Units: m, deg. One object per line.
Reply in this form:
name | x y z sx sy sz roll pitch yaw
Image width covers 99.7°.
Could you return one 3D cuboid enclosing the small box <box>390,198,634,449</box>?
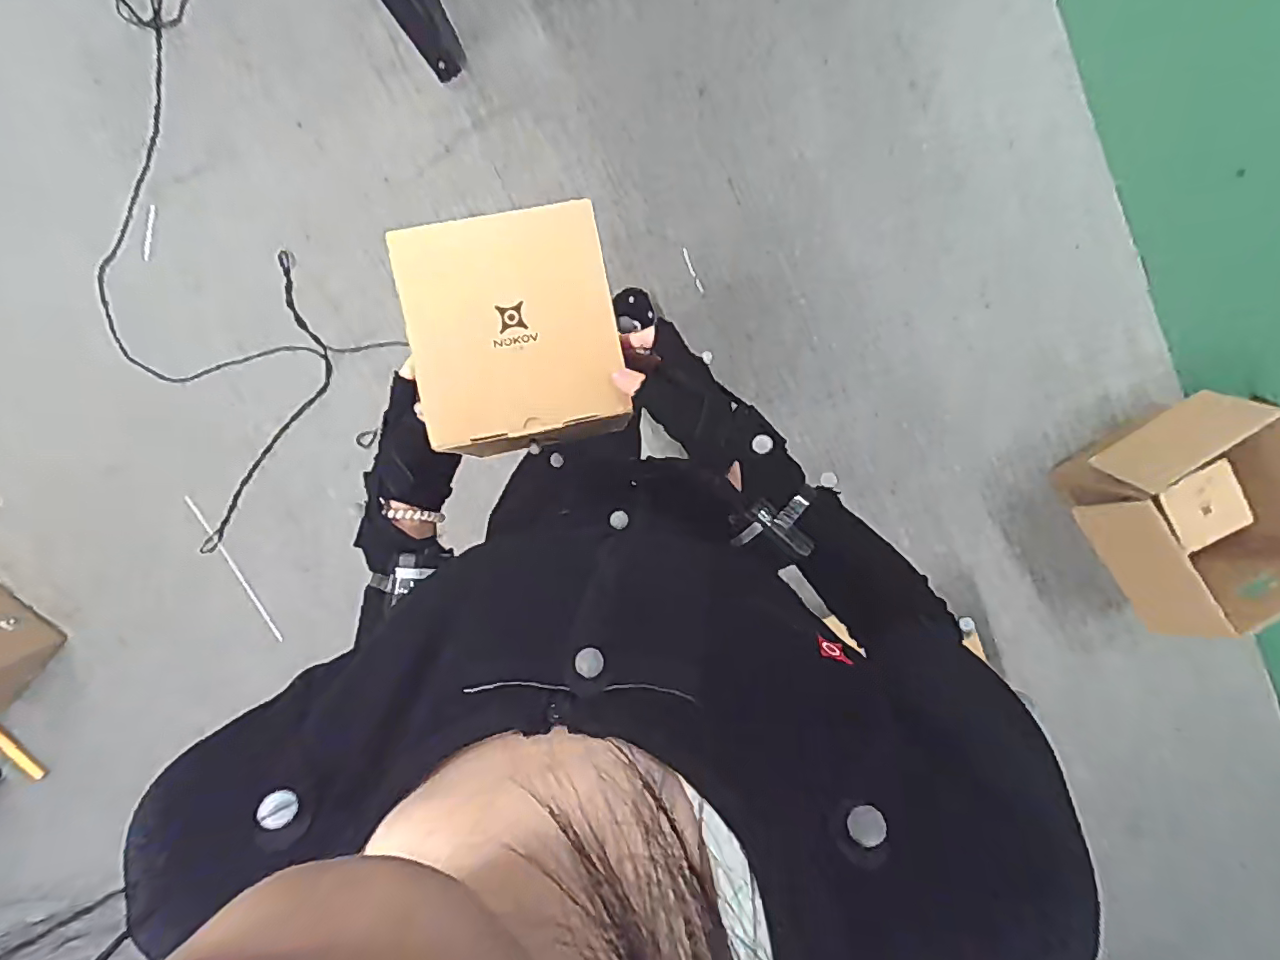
small box | -0.109 -0.130 0.510 0.168 0.176 0.179 -12 93 -5
